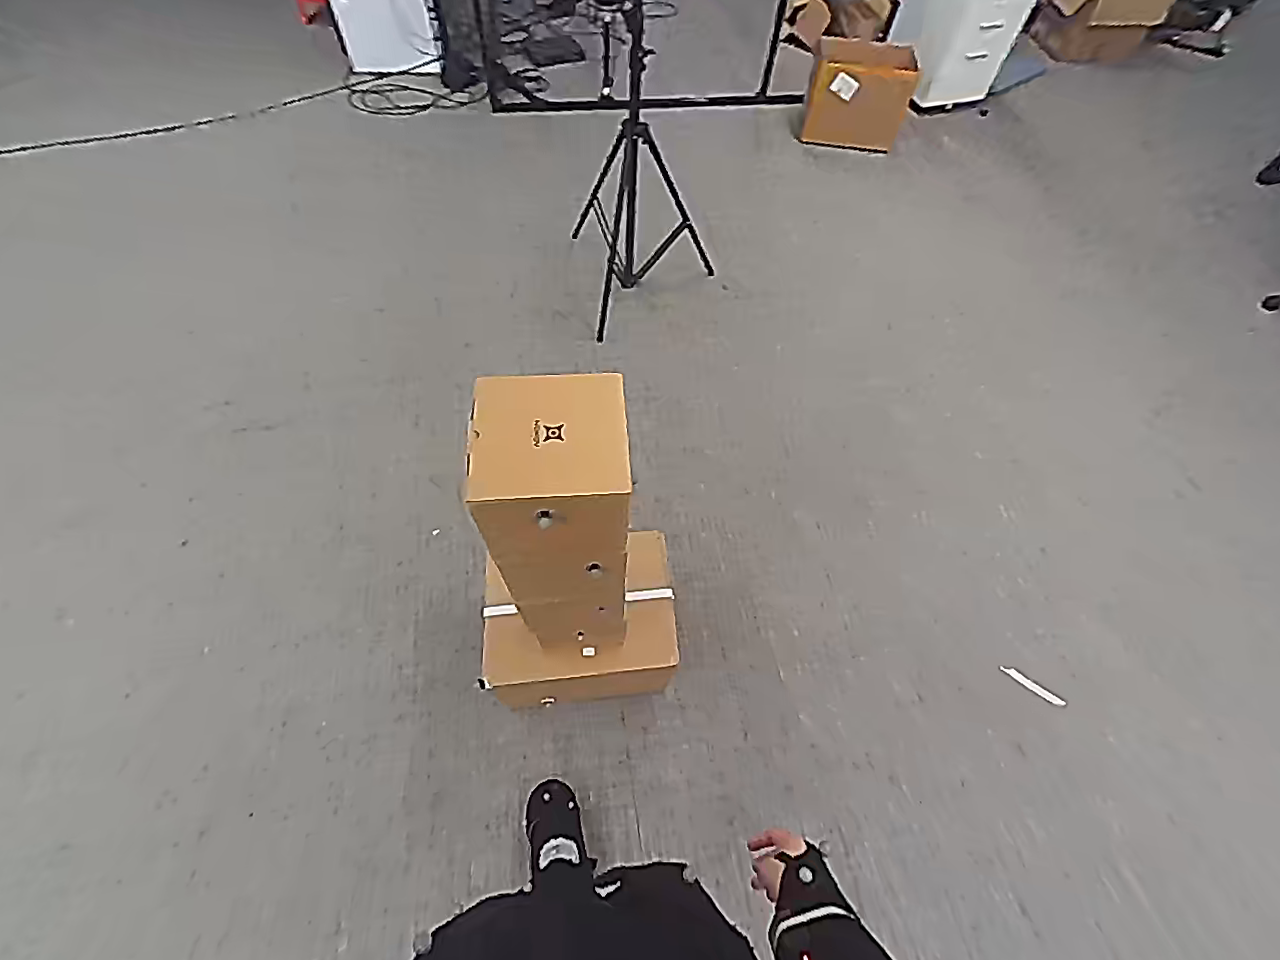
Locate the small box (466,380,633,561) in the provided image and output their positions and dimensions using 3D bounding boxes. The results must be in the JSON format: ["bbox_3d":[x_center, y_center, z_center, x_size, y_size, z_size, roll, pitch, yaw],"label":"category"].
[{"bbox_3d":[-0.105,-0.006,0.674,0.179,0.176,0.168,-3,61,-5],"label":"small box"}]

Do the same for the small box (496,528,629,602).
[{"bbox_3d":[-0.112,0.076,0.813,0.179,0.176,0.168,-4,60,-5],"label":"small box"}]

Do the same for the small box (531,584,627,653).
[{"bbox_3d":[-0.125,0.244,1.096,0.179,0.176,0.168,-6,61,-8],"label":"small box"}]
